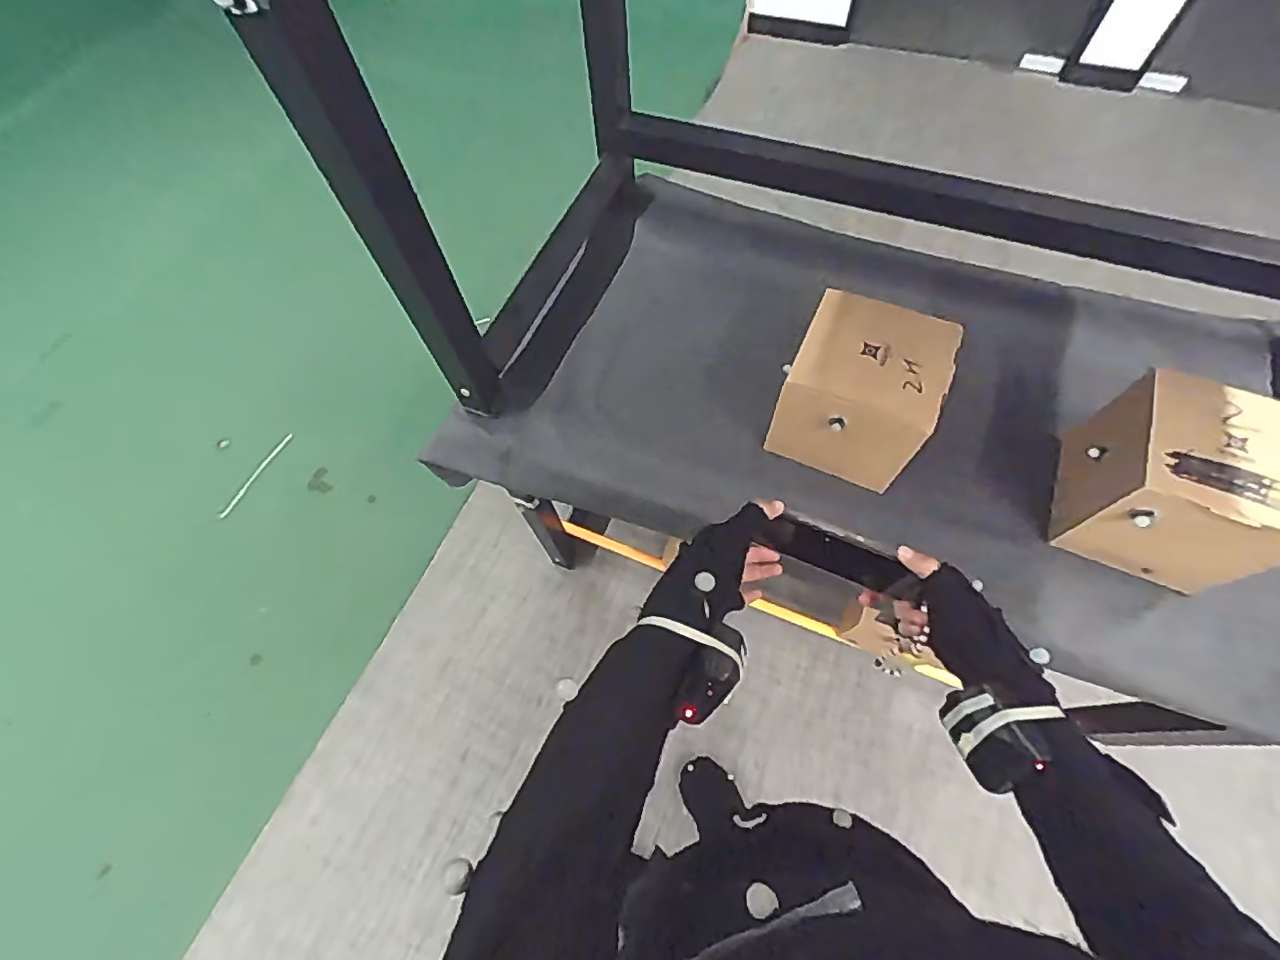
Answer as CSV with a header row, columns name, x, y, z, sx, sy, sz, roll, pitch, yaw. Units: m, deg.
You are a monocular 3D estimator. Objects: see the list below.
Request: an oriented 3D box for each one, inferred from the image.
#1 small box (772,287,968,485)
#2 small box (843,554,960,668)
name,x,y,z,sx,sy,sz,roll,pitch,yaw
small box,0.290,-0.117,0.715,0.179,0.176,0.168,23,67,14
small box,0.566,0.295,1.191,0.168,0.176,0.179,23,67,14
